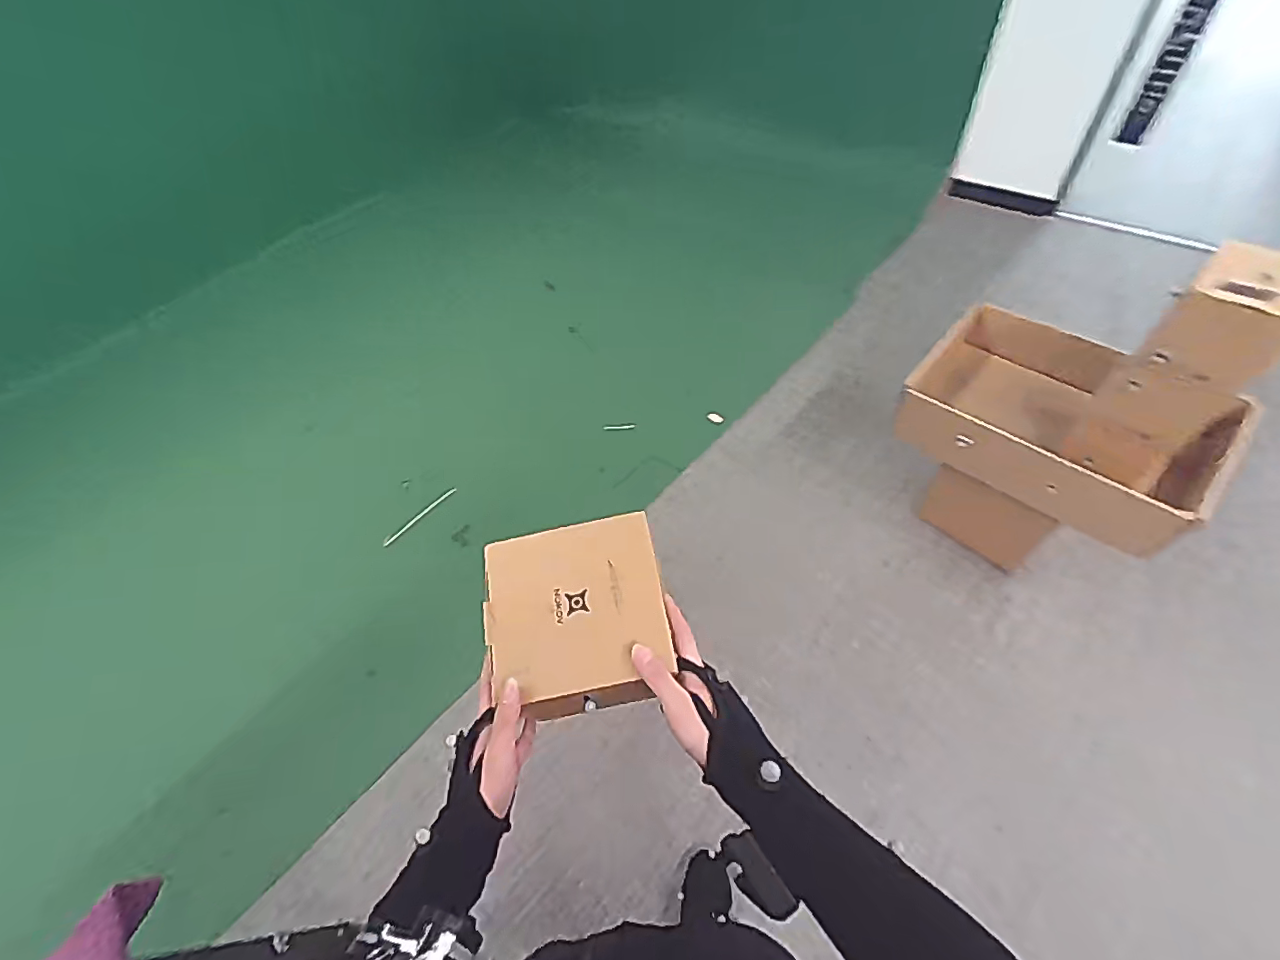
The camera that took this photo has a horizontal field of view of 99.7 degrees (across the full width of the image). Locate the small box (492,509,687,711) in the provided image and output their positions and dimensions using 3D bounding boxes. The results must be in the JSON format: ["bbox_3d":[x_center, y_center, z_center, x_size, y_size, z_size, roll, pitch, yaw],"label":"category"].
[{"bbox_3d":[-0.050,0.153,0.601,0.179,0.176,0.168,-11,62,2],"label":"small box"}]

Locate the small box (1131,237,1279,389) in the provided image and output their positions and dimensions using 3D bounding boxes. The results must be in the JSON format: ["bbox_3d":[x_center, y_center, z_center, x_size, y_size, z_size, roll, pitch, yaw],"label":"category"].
[{"bbox_3d":[1.039,-0.294,0.968,0.168,0.176,0.179,36,67,28],"label":"small box"}]

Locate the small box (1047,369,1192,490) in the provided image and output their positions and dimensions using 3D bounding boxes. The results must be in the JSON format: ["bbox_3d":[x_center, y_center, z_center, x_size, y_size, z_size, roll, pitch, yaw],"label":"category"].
[{"bbox_3d":[1.083,-0.113,1.238,0.168,0.176,0.179,37,69,28],"label":"small box"}]
